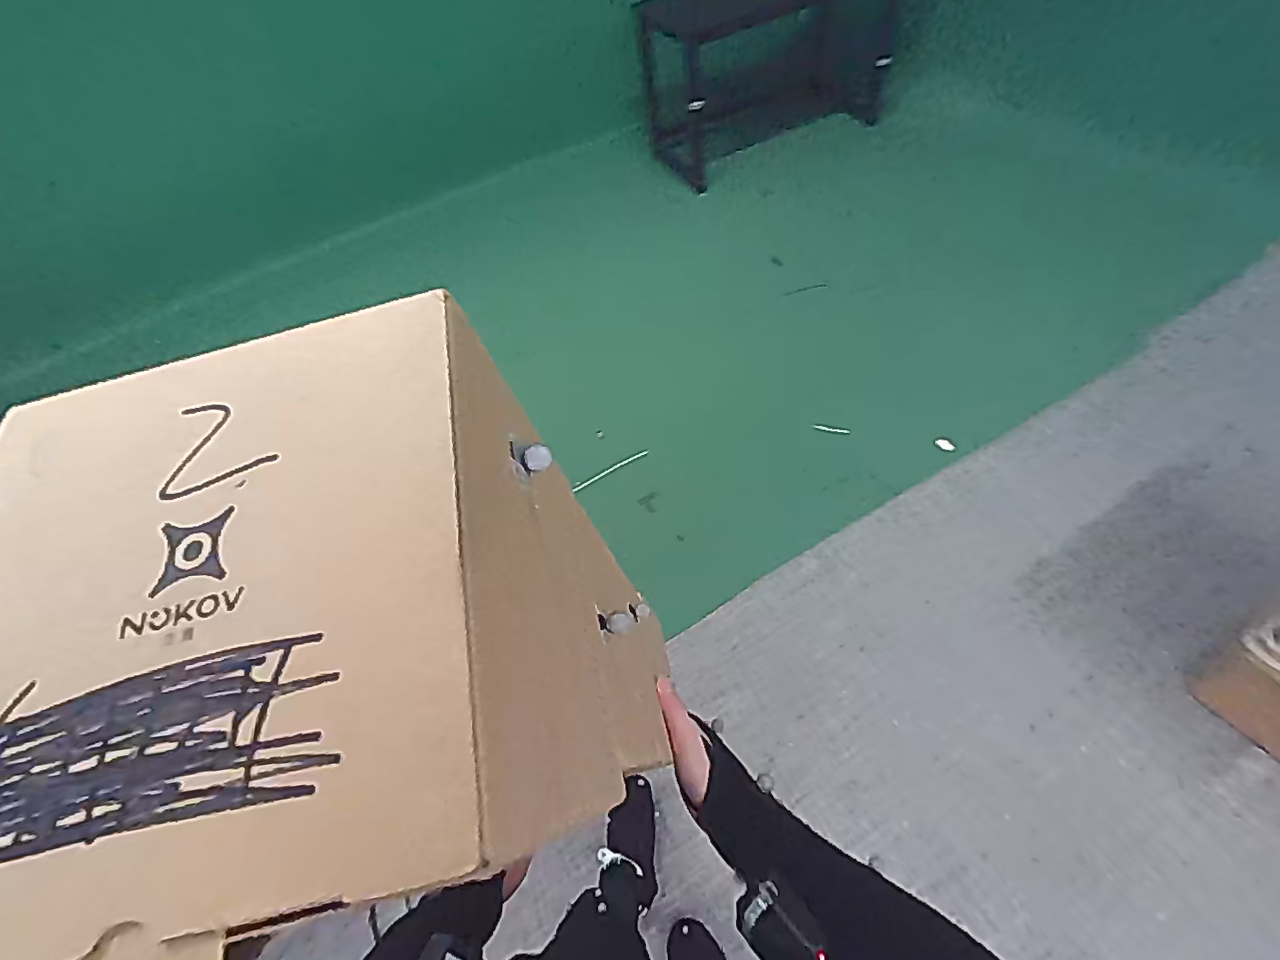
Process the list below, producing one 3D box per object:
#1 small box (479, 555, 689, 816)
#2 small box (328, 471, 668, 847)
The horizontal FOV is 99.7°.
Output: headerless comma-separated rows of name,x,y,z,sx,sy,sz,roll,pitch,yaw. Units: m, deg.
small box,-0.056,0.196,0.516,0.168,0.176,0.179,-16,62,2
small box,-0.083,0.122,0.375,0.168,0.176,0.179,-15,64,1
